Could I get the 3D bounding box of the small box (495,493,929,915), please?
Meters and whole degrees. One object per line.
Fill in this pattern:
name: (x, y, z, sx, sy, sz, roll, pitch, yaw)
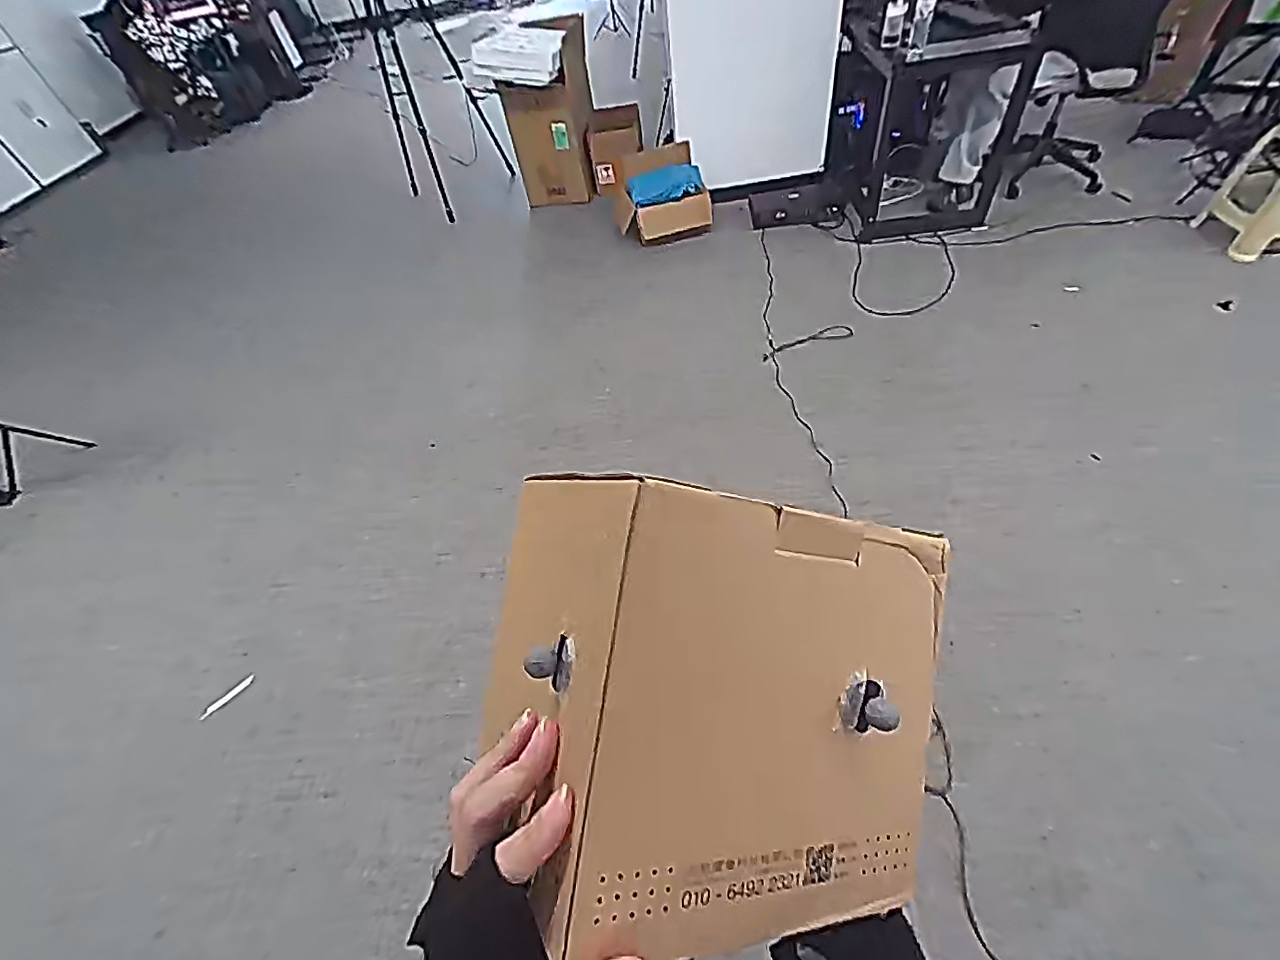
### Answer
small box: (0.025, 0.104, 0.306, 0.168, 0.179, 0.176, 12, 84, -25)
